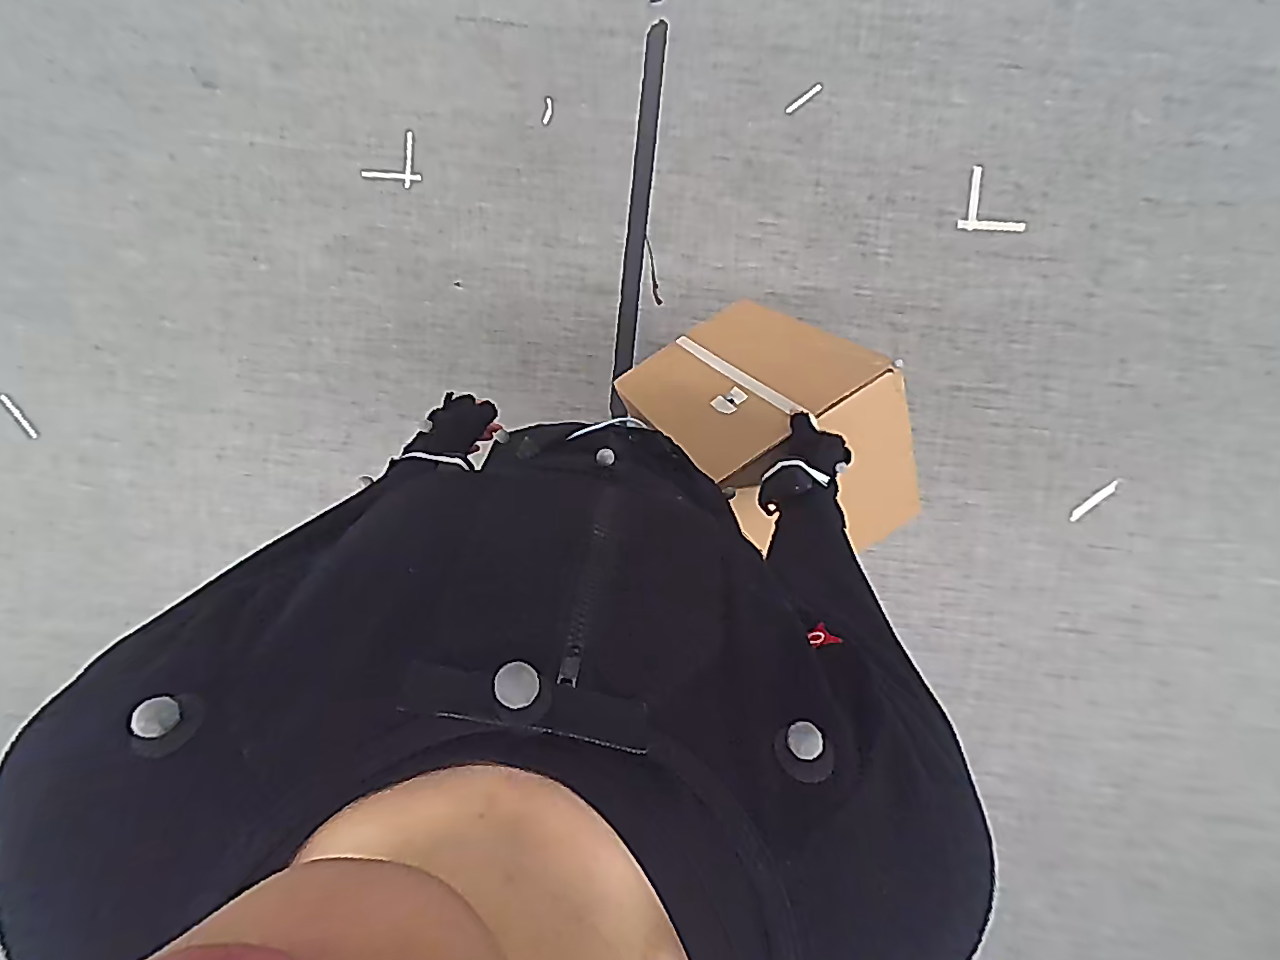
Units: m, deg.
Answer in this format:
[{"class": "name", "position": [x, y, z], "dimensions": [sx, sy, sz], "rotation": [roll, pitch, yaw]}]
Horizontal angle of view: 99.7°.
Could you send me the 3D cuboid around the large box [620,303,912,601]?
[{"class": "large box", "position": [0.217, -0.067, 0.983], "dimensions": [0.320, 0.408, 0.320], "rotation": [-33, 129, -3]}]
